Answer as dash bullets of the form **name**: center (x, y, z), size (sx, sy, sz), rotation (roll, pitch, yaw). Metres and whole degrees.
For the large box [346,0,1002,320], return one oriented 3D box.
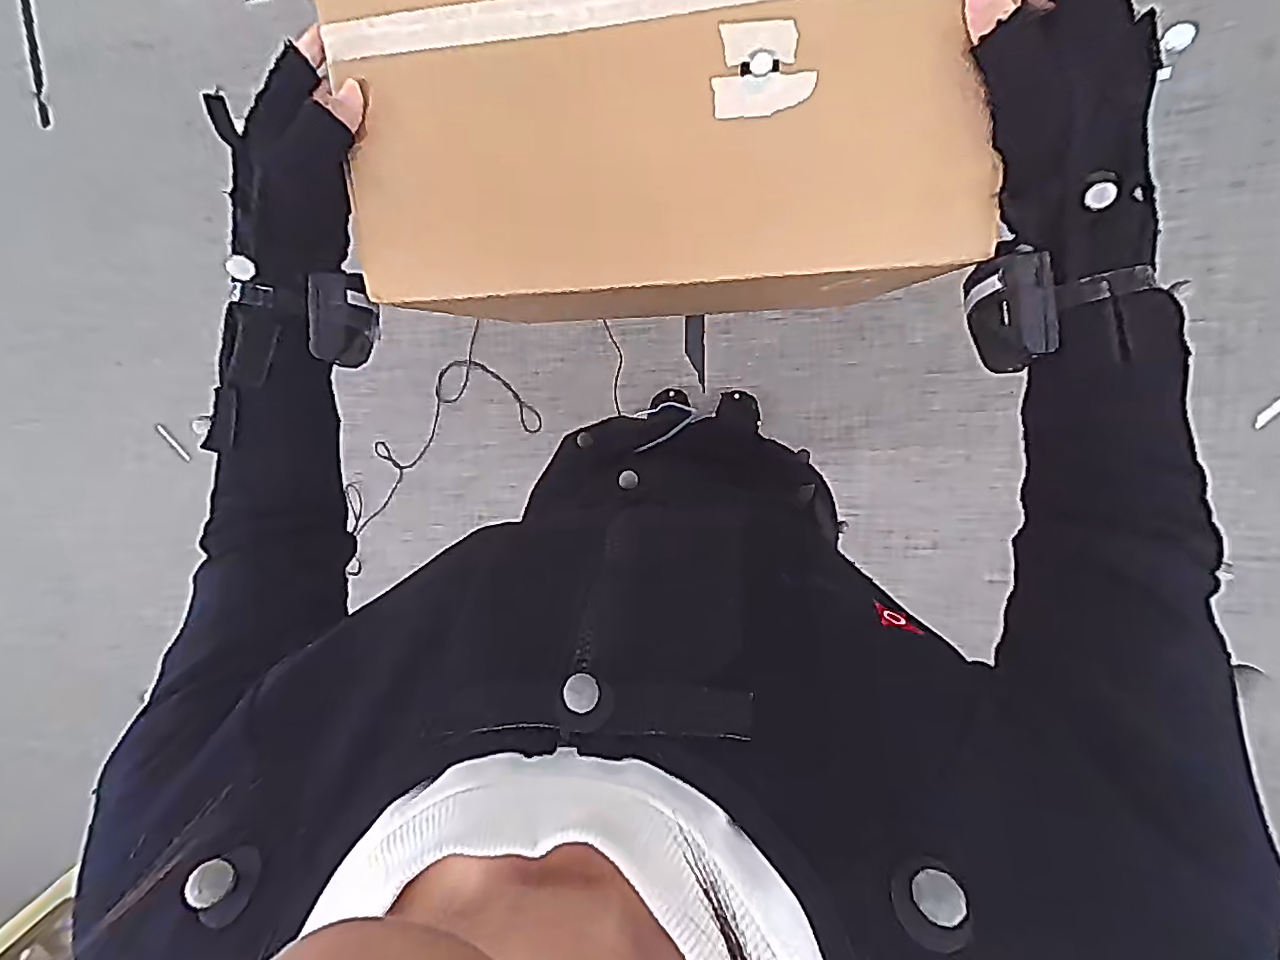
- **large box**: center (0.024, -0.322, 0.470), size (0.408, 0.320, 0.320), rotation (-2, 104, 7)
